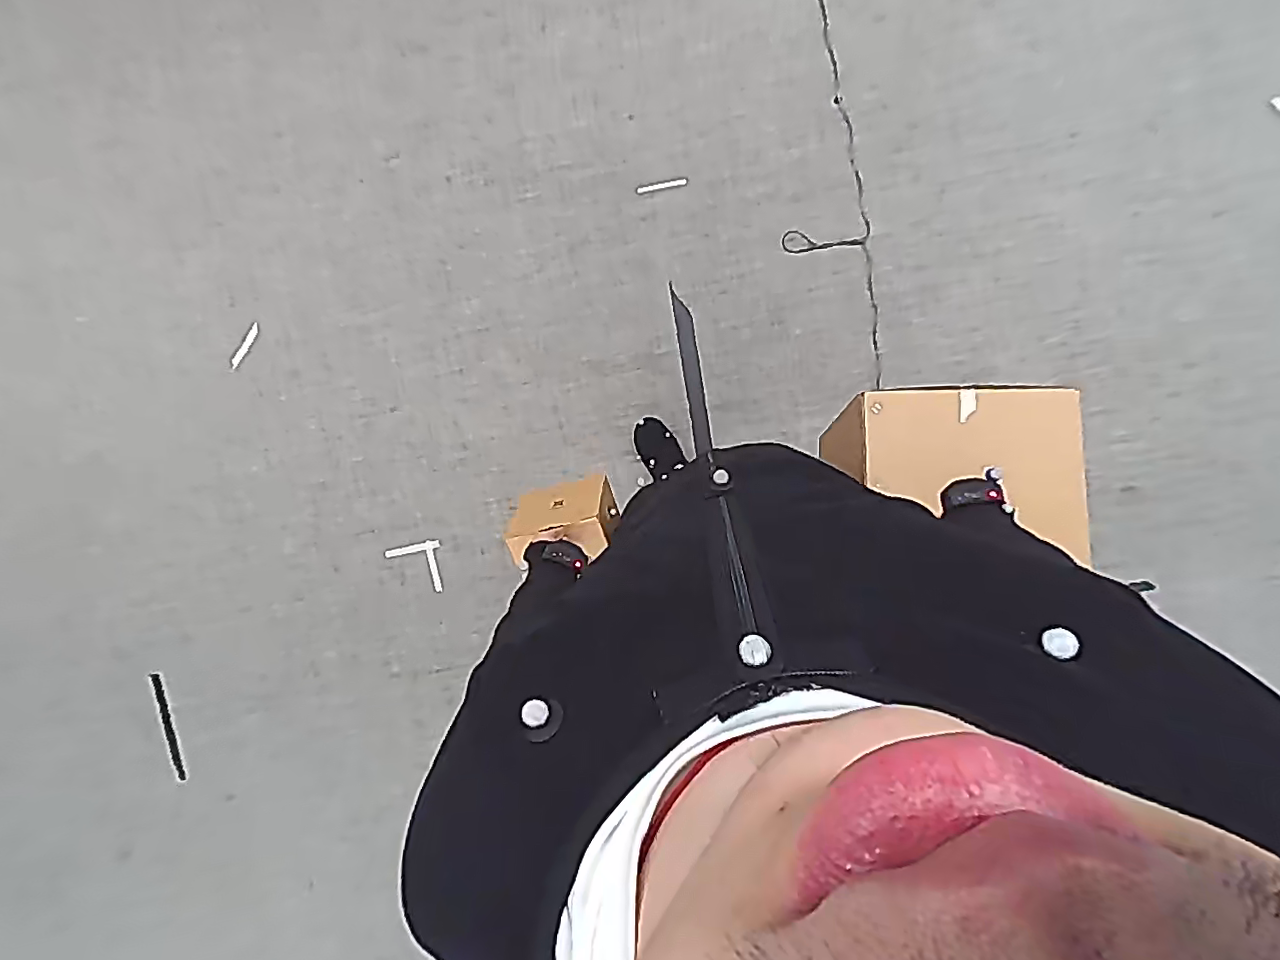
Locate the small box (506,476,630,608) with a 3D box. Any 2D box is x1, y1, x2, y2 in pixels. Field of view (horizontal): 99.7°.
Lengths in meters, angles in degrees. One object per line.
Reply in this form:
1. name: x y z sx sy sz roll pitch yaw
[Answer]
1. small box: -0.122 0.118 1.001 0.168 0.179 0.176 -14 112 8
